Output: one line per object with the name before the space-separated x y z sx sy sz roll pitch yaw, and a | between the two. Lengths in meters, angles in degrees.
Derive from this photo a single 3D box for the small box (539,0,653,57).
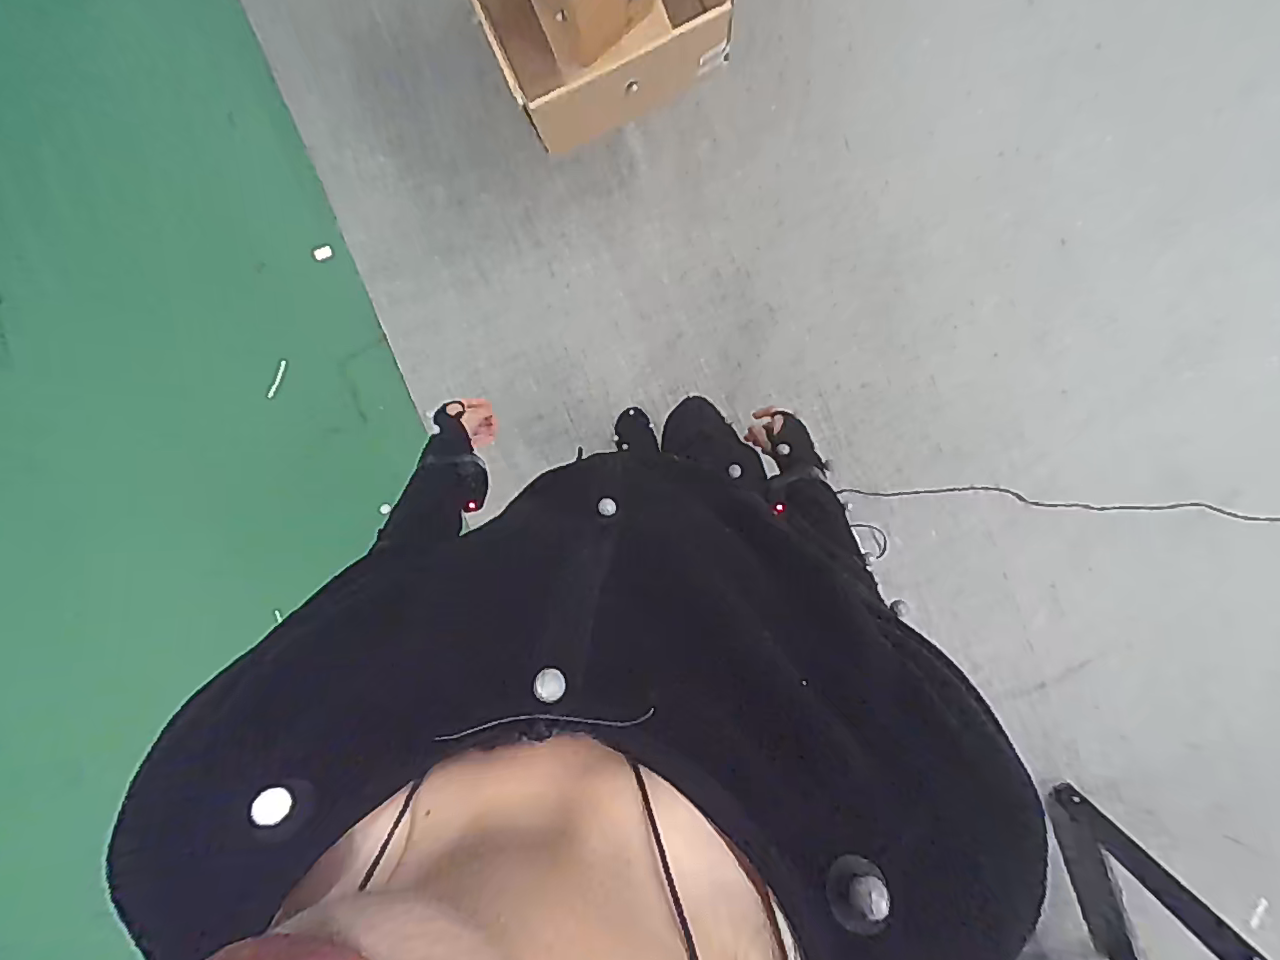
small box | -0.088 -0.884 0.930 0.168 0.176 0.179 -37 93 5
